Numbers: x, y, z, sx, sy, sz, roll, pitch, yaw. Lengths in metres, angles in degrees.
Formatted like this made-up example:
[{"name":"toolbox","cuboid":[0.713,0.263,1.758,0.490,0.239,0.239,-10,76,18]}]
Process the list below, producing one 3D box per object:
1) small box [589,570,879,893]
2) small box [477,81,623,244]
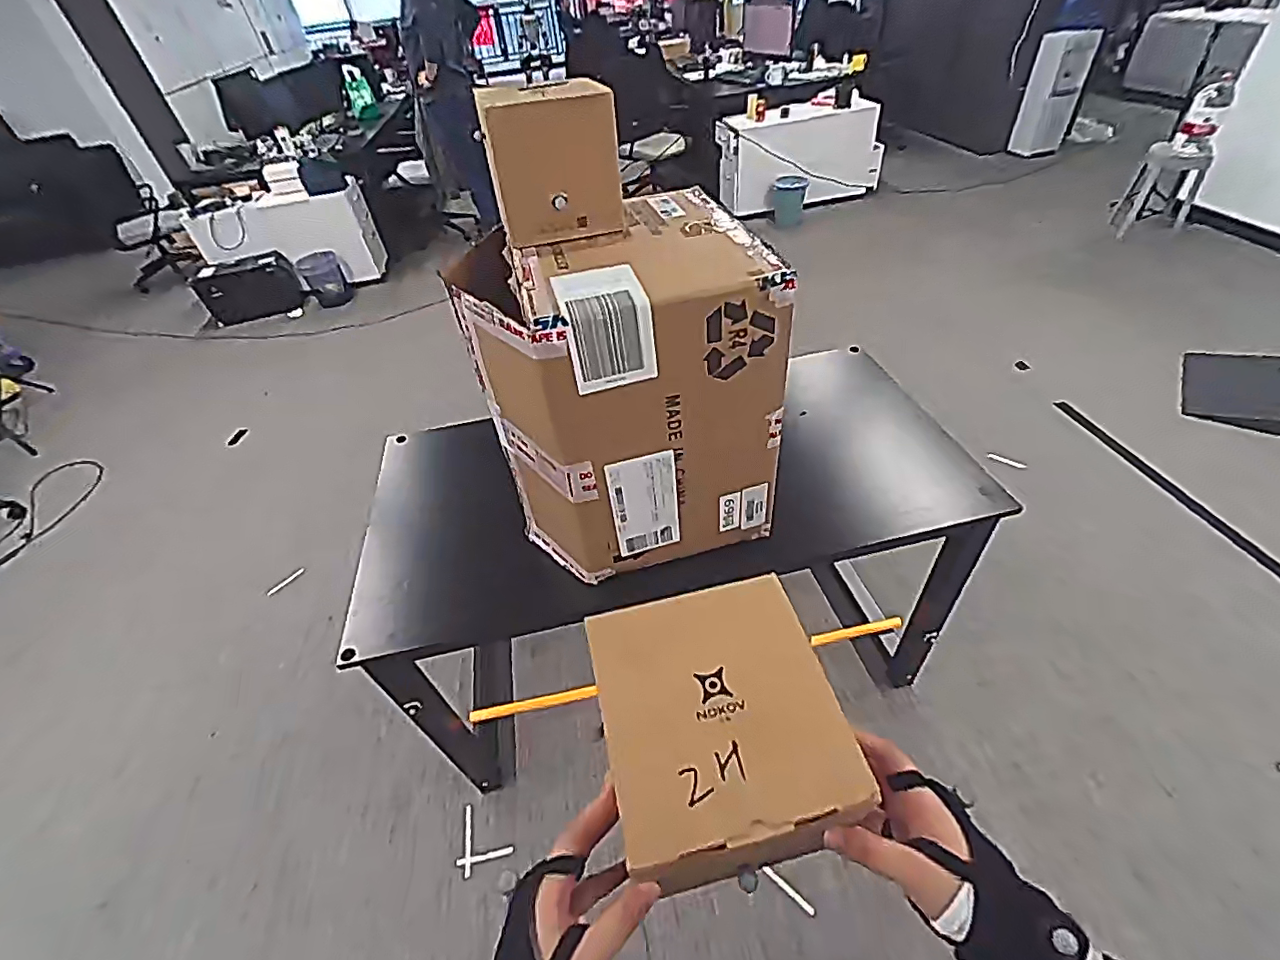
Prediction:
[{"name":"small box","cuboid":[0.058,0.205,0.445,0.168,0.176,0.179,-12,47,-6]},{"name":"small box","cuboid":[-0.128,-0.455,0.774,0.168,0.176,0.179,-14,42,-9]}]
